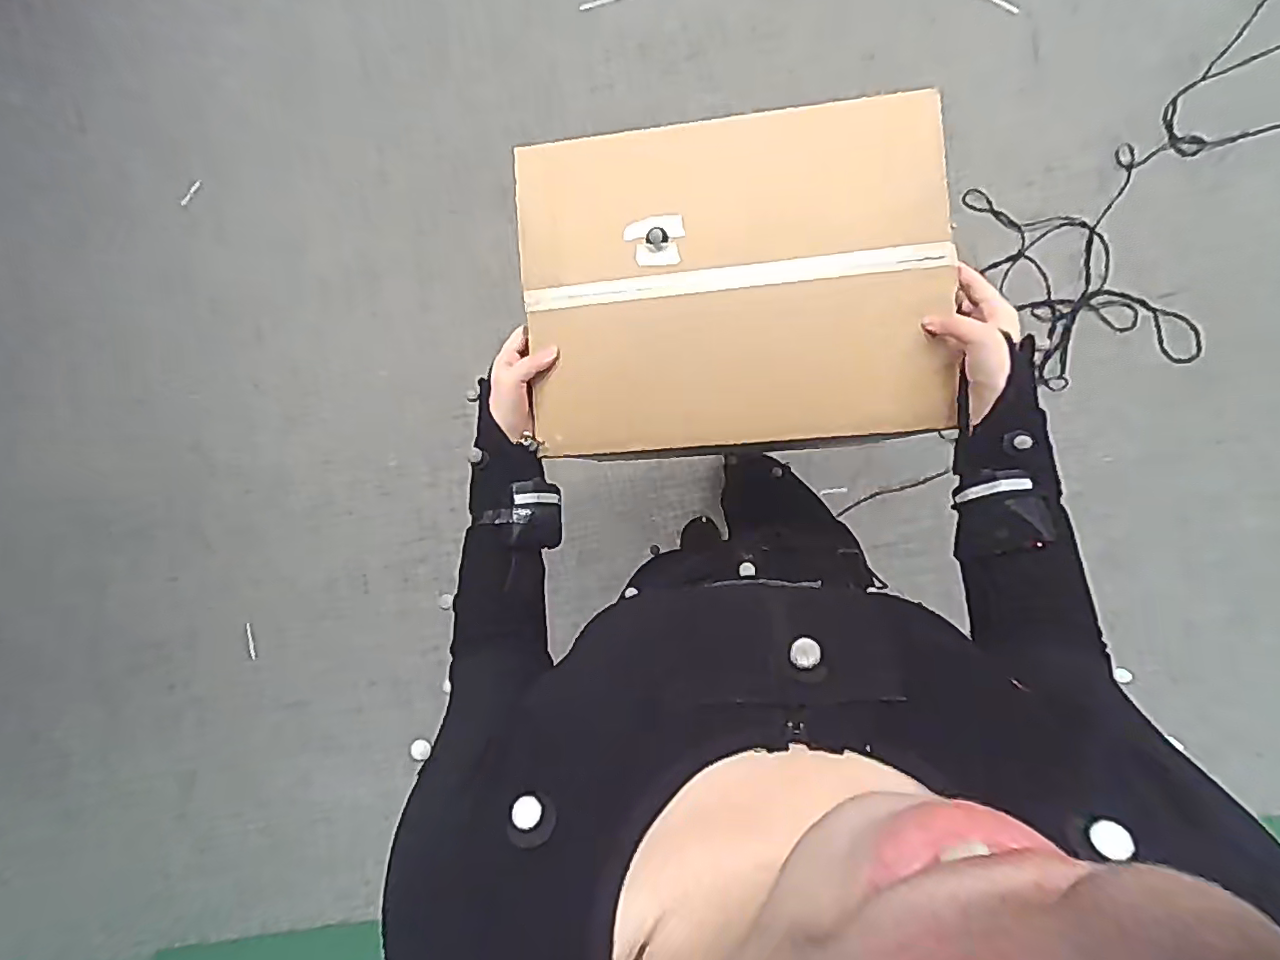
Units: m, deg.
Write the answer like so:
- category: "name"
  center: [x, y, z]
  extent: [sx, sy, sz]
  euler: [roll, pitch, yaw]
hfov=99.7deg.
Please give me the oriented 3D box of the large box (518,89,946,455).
- category: "large box"
  center: [0.103, -0.201, 0.680]
  extent: [0.408, 0.320, 0.320]
  euler: [-4, 90, 8]
